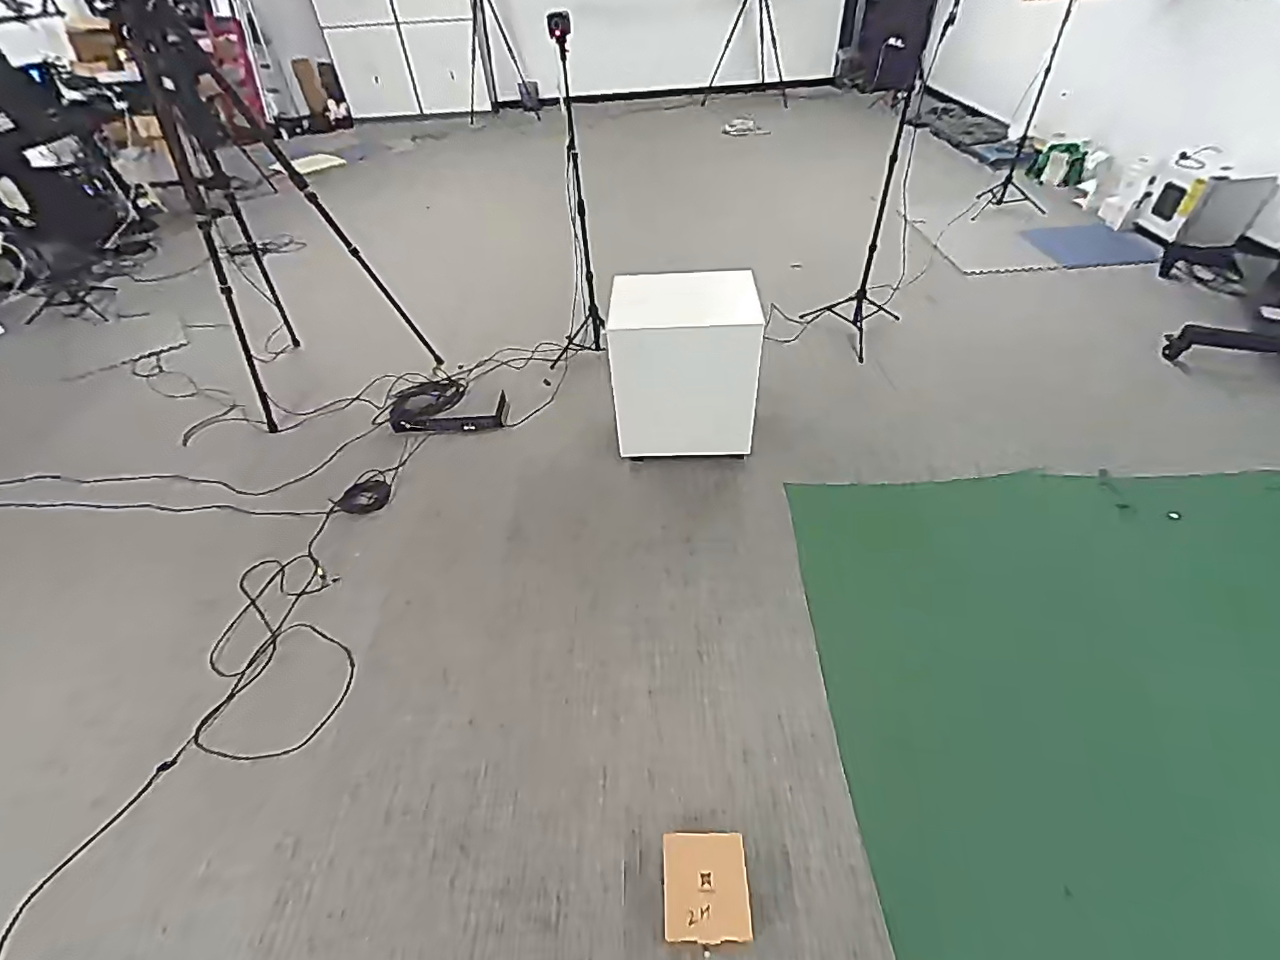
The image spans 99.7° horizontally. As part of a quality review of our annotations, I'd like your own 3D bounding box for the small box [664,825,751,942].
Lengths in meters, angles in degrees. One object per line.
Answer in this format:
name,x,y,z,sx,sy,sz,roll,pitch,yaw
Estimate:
small box,0.134,0.846,1.135,0.168,0.176,0.179,-2,46,3
